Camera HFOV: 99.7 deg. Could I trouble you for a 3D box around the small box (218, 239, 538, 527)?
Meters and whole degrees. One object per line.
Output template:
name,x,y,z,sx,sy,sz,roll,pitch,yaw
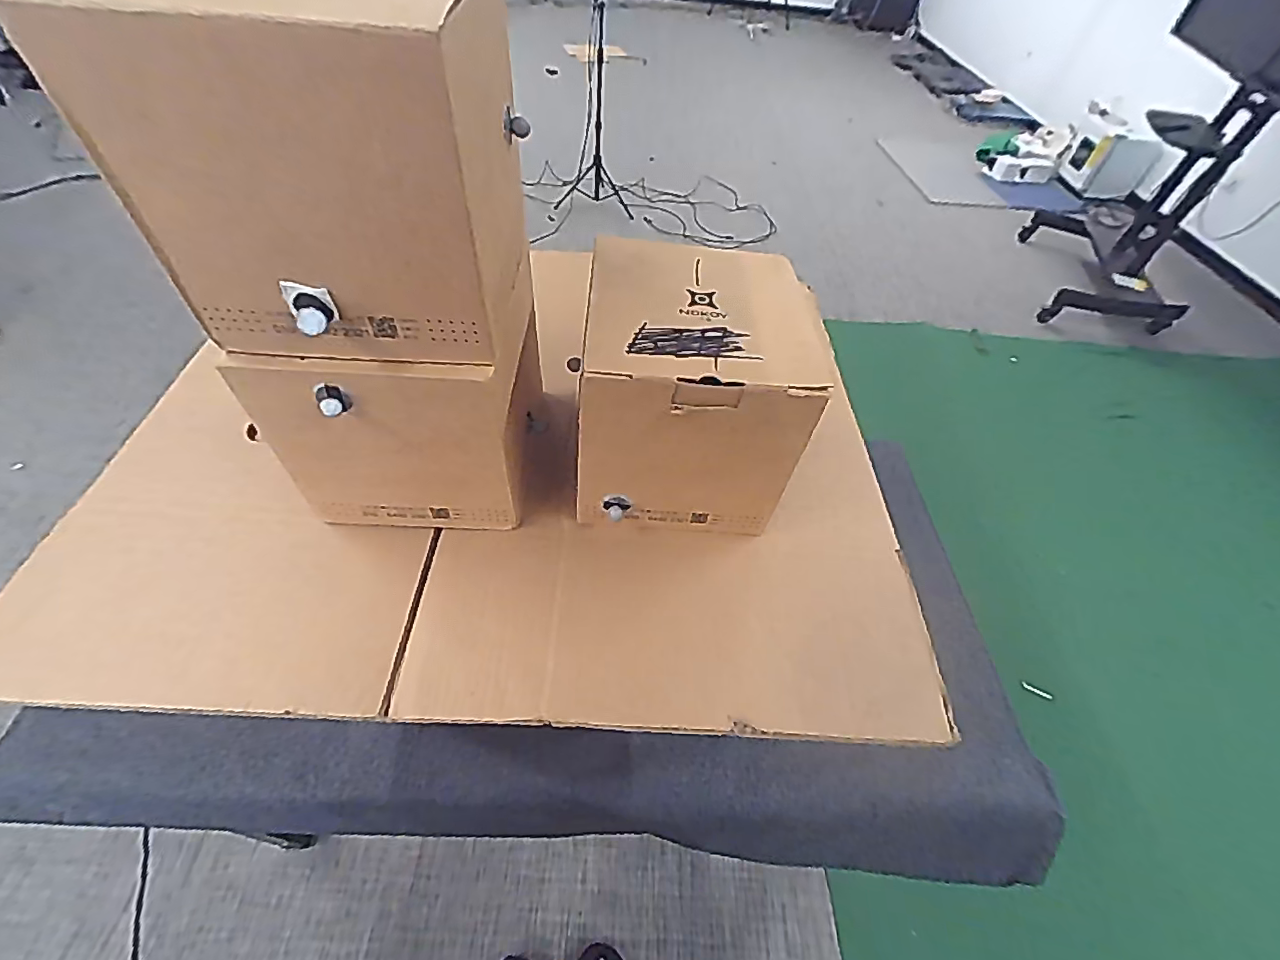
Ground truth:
small box,-0.180,-0.083,0.445,0.168,0.176,0.179,2,51,-2

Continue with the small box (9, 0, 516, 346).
small box,-0.168,-0.201,0.312,0.168,0.176,0.179,0,53,-4
